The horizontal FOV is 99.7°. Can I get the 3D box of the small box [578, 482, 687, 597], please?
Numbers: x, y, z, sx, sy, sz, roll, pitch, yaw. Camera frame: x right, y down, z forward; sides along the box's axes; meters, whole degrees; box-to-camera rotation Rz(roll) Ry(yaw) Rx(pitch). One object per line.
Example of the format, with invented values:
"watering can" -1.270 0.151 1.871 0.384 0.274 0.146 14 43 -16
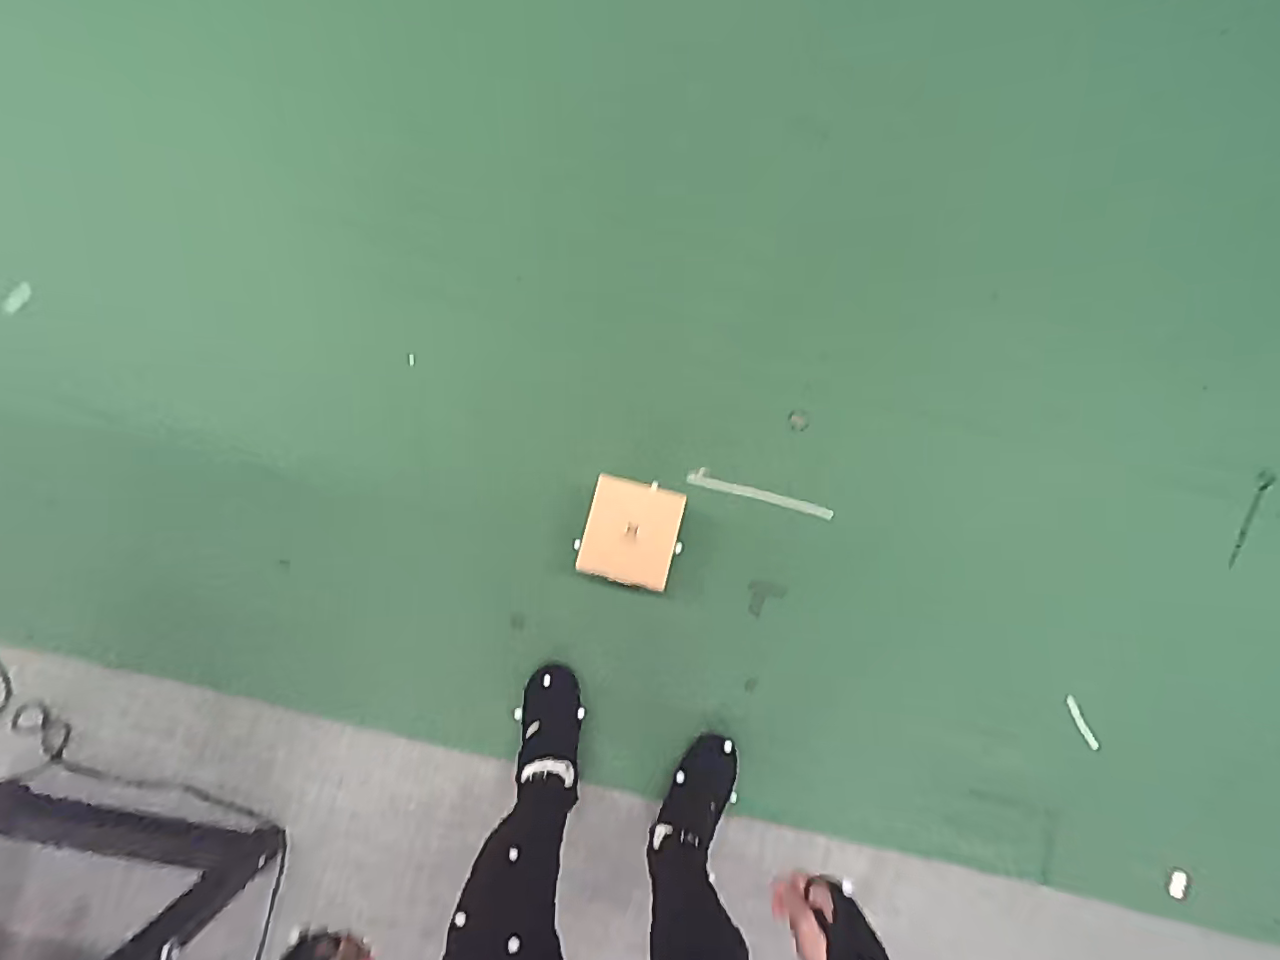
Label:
"small box" -0.016 0.112 1.050 0.168 0.176 0.179 14 86 0
